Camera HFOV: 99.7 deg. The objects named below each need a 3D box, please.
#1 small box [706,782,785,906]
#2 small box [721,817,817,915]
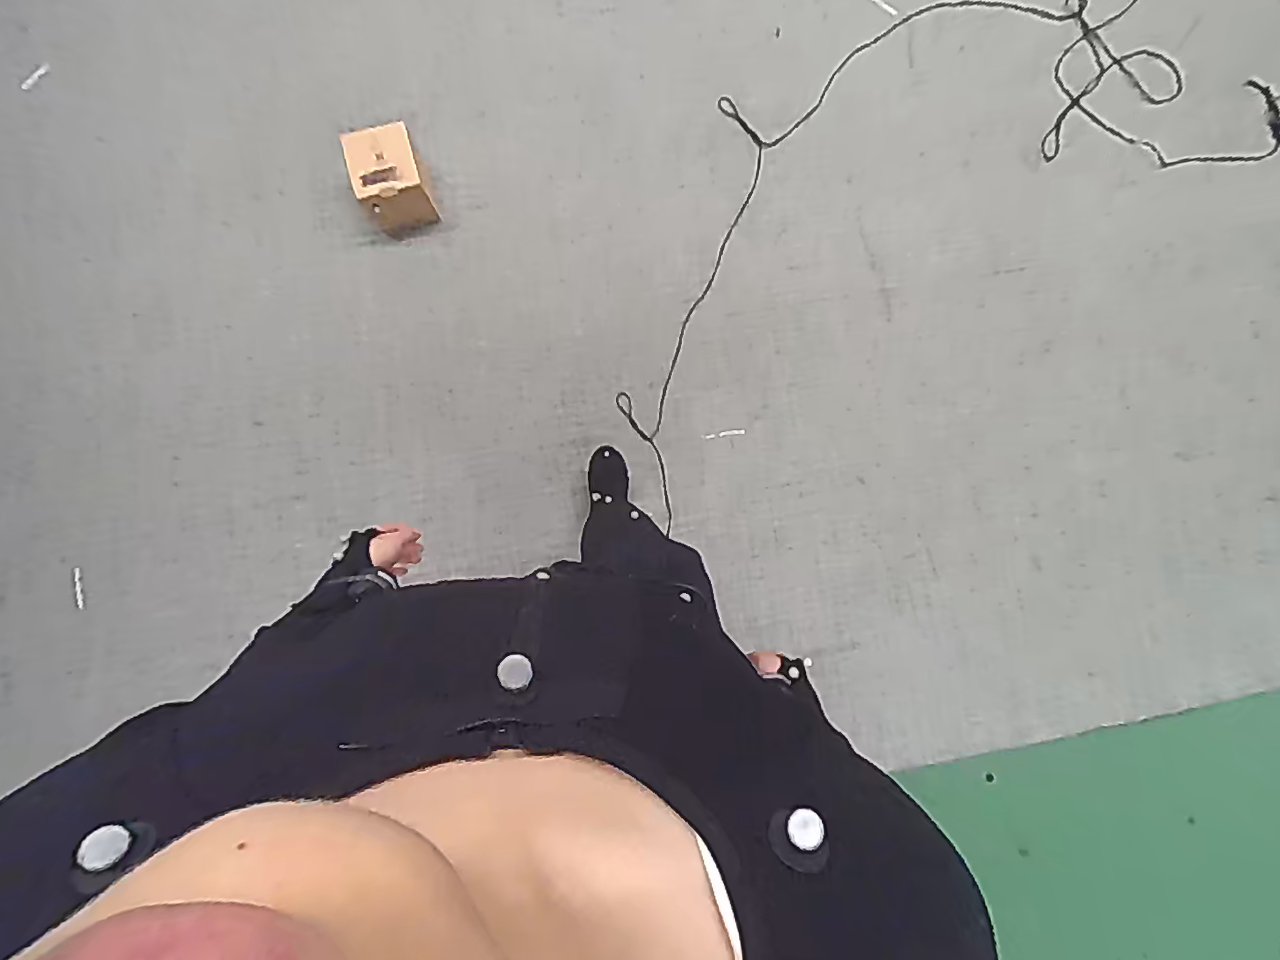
[{"bbox_3d":[0.266,0.875,1.314,0.168,0.176,0.179,-10,86,-4],"label":"small box"},{"bbox_3d":[0.278,0.851,1.151,0.168,0.176,0.179,-9,87,-3],"label":"small box"}]
